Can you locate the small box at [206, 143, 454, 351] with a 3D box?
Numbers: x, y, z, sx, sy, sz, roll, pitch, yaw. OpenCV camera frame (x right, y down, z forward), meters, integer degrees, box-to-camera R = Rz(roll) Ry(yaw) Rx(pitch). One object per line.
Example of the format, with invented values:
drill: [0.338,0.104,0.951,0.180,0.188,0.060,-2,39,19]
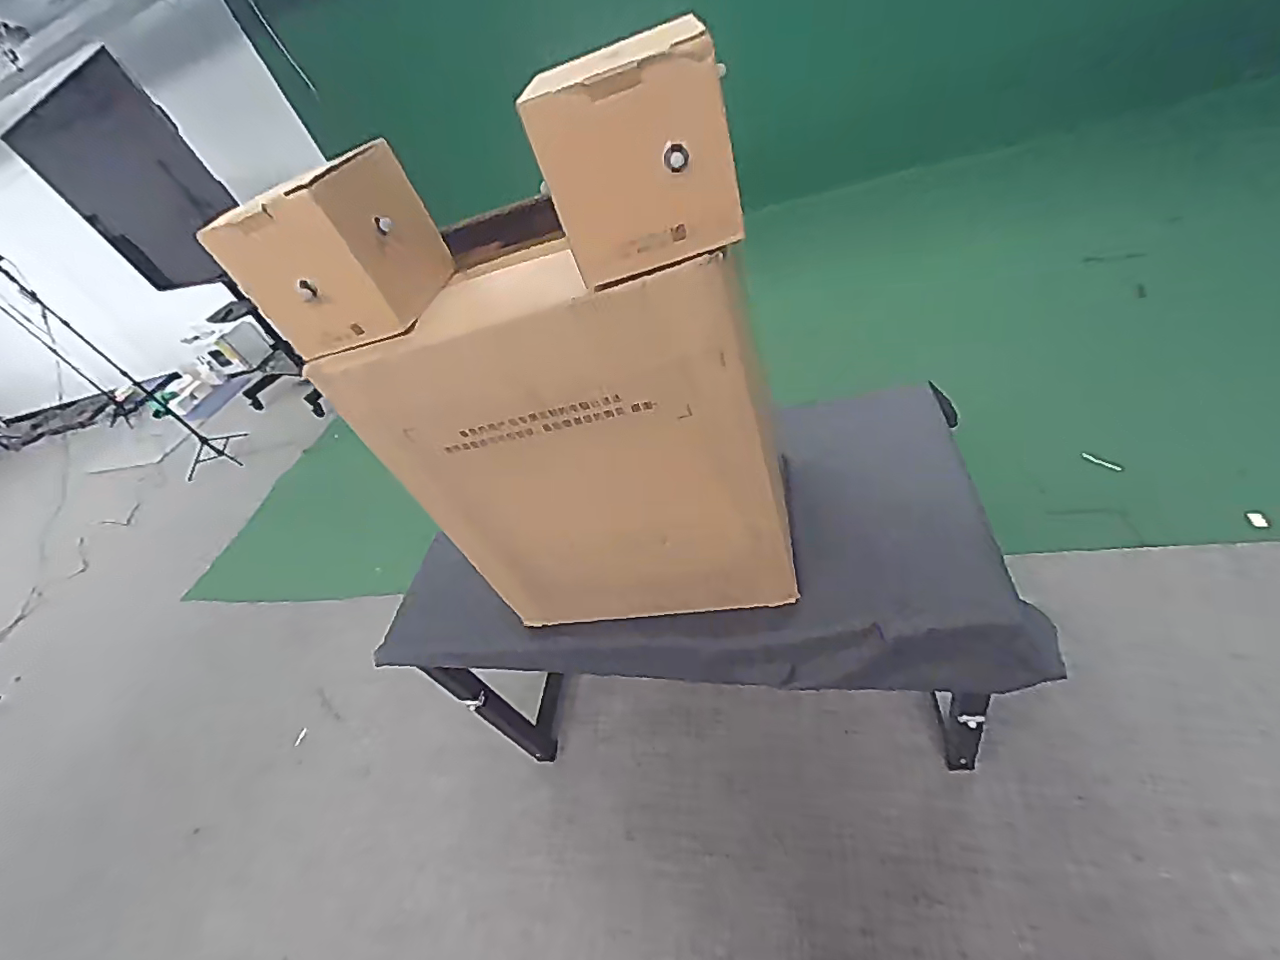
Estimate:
small box: [-0.362,-0.277,0.671,0.168,0.176,0.179,-8,44,18]

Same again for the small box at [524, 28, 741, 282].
small box: [0.001,-0.321,0.549,0.168,0.176,0.179,-12,41,10]
